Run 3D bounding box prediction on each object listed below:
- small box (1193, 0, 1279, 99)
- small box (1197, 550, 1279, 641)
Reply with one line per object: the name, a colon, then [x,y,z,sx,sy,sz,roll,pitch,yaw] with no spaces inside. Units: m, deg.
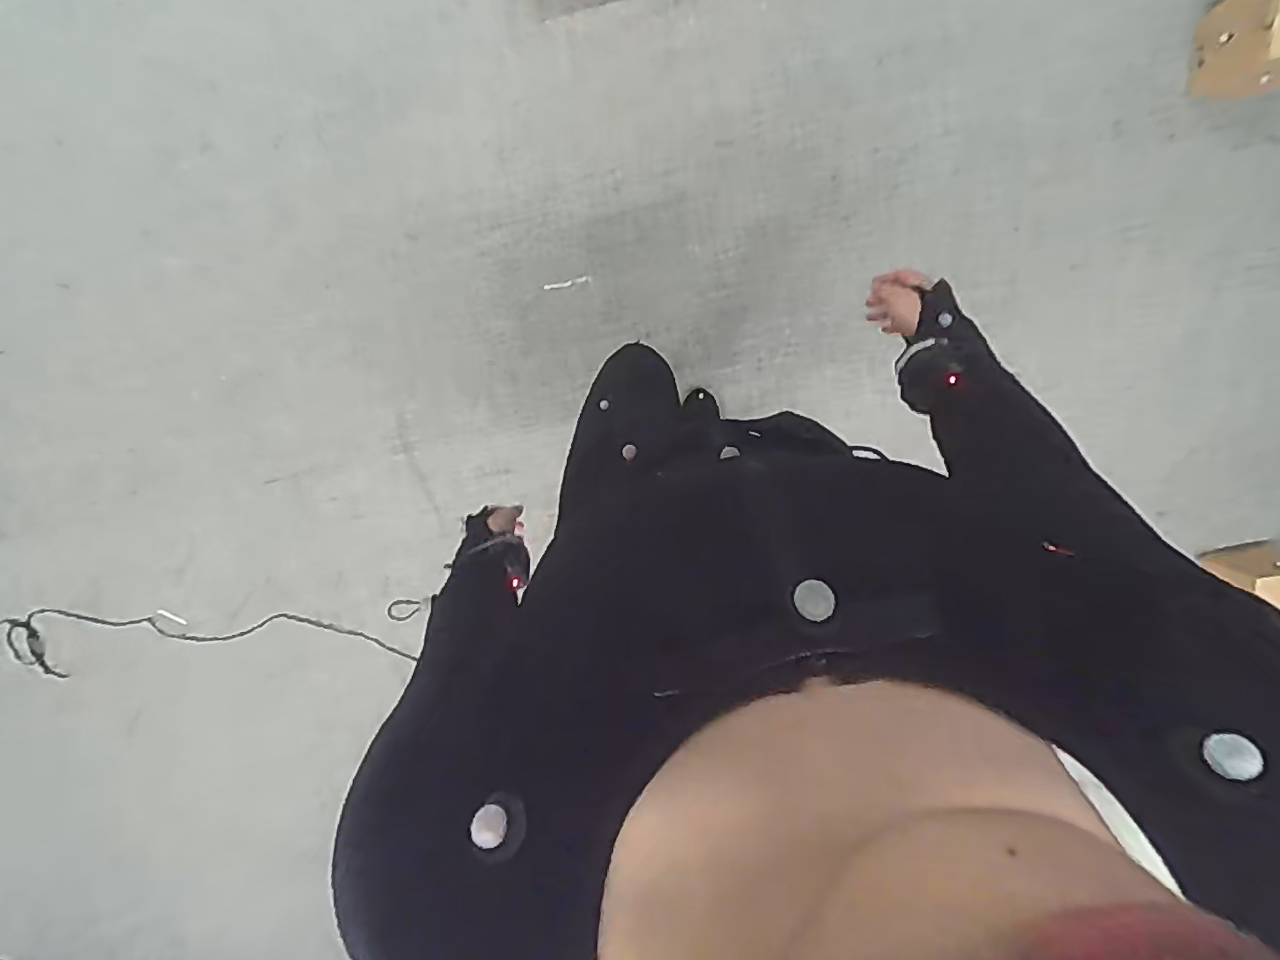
small box: [1.348,-0.938,1.146,0.179,0.176,0.168,1,102,3]
small box: [1.615,0.292,1.401,0.179,0.176,0.168,-11,100,6]
